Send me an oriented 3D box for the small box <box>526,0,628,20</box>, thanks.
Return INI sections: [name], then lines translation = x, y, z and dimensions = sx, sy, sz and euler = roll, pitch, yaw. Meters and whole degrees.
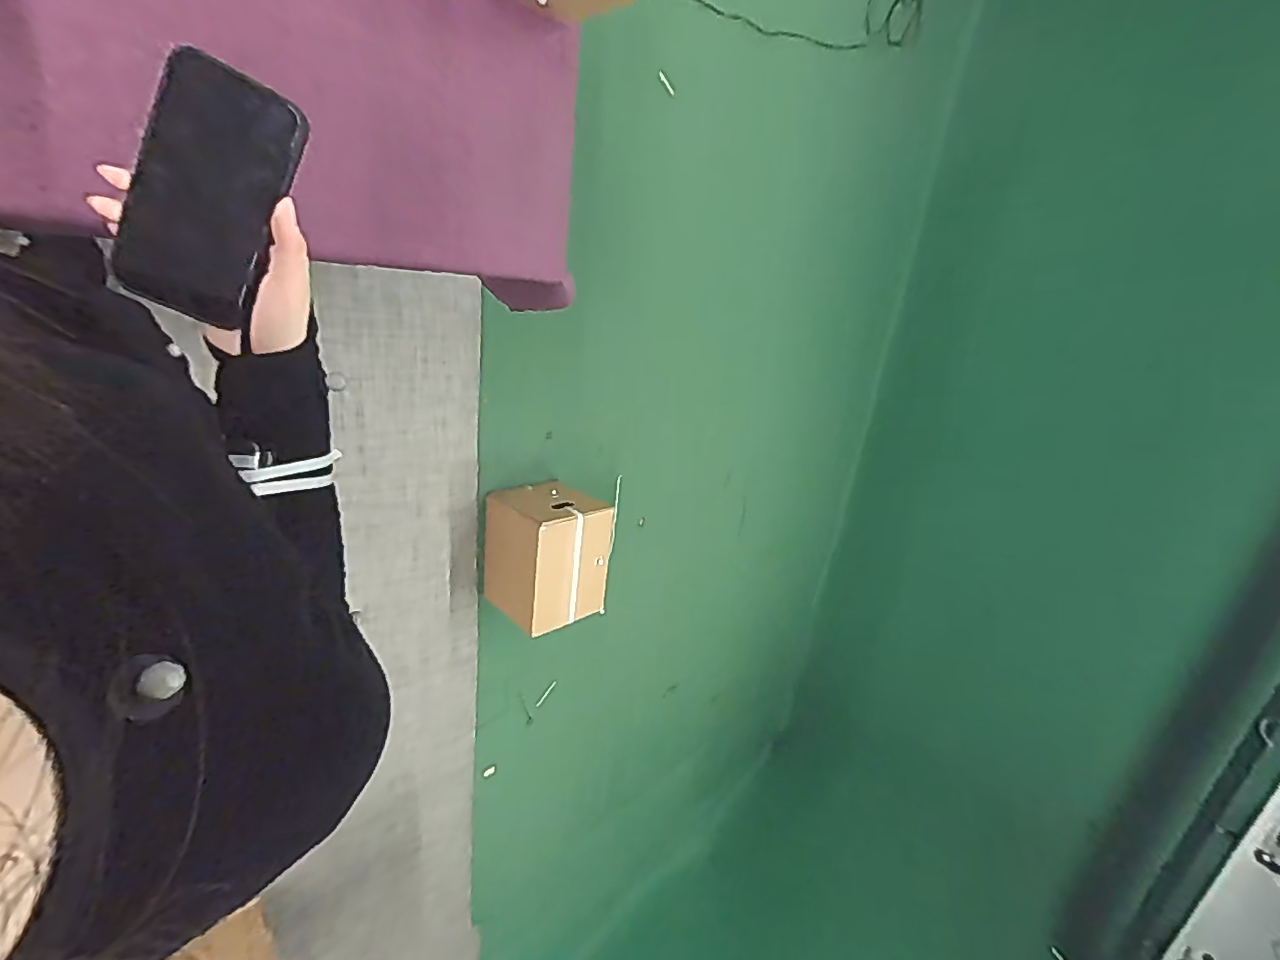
[small box]
translation = -0.092, -0.705, 0.647
dimensions = 0.168, 0.176, 0.179
euler = -12, 117, -43
